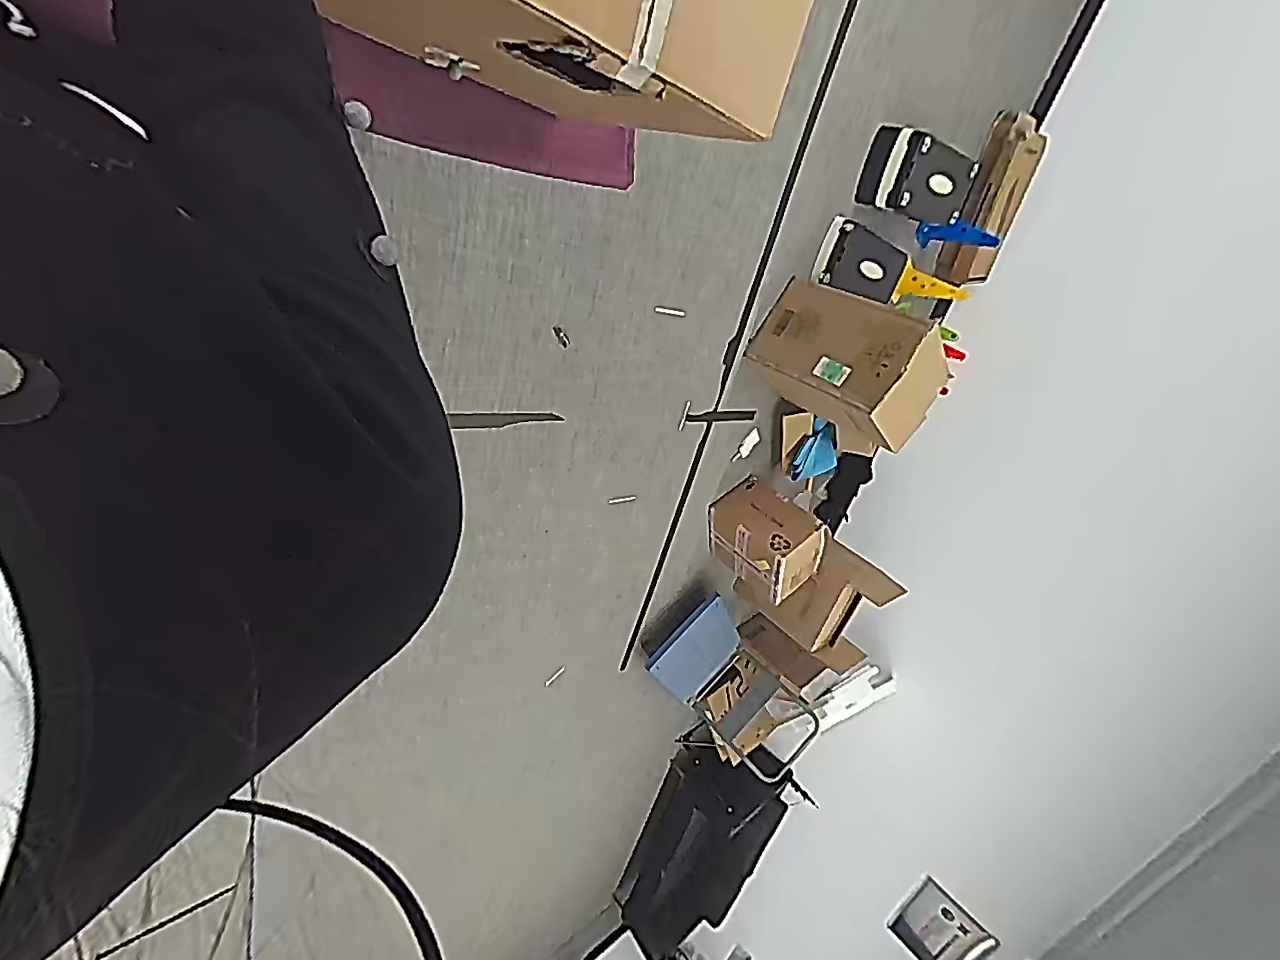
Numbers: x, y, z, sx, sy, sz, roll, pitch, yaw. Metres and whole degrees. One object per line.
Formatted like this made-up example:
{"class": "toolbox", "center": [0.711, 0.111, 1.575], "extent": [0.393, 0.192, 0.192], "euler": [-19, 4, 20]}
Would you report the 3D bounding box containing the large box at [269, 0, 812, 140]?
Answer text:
{"class": "large box", "center": [-0.052, -0.503, 0.356], "extent": [0.320, 0.320, 0.408], "euler": [-9, 124, -44]}
